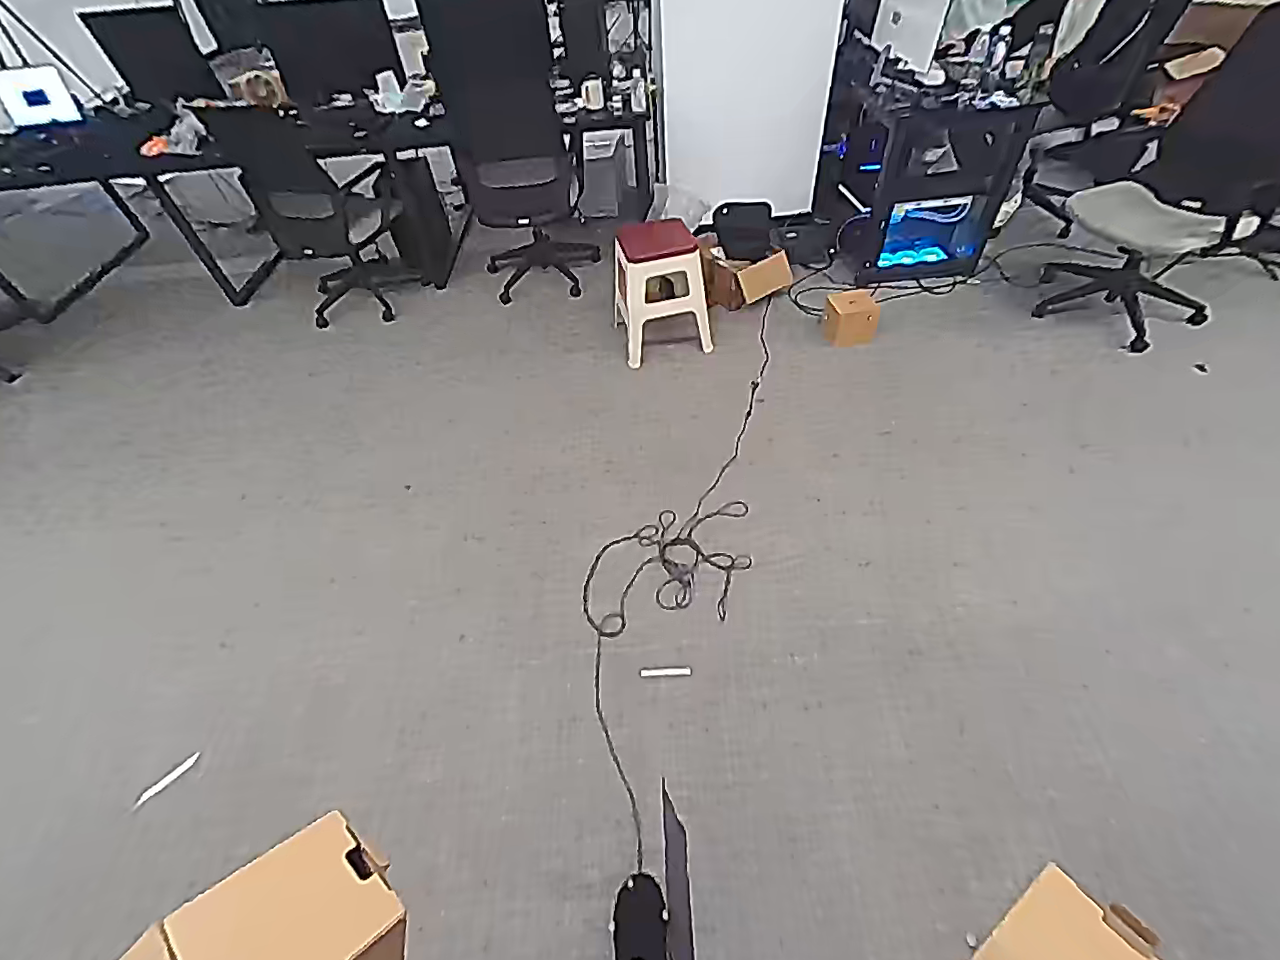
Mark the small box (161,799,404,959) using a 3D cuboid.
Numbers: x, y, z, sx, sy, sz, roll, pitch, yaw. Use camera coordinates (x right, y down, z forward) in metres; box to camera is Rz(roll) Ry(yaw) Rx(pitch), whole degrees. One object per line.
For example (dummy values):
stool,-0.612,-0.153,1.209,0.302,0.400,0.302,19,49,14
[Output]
small box,-0.384,0.517,0.599,0.168,0.176,0.179,28,27,31
